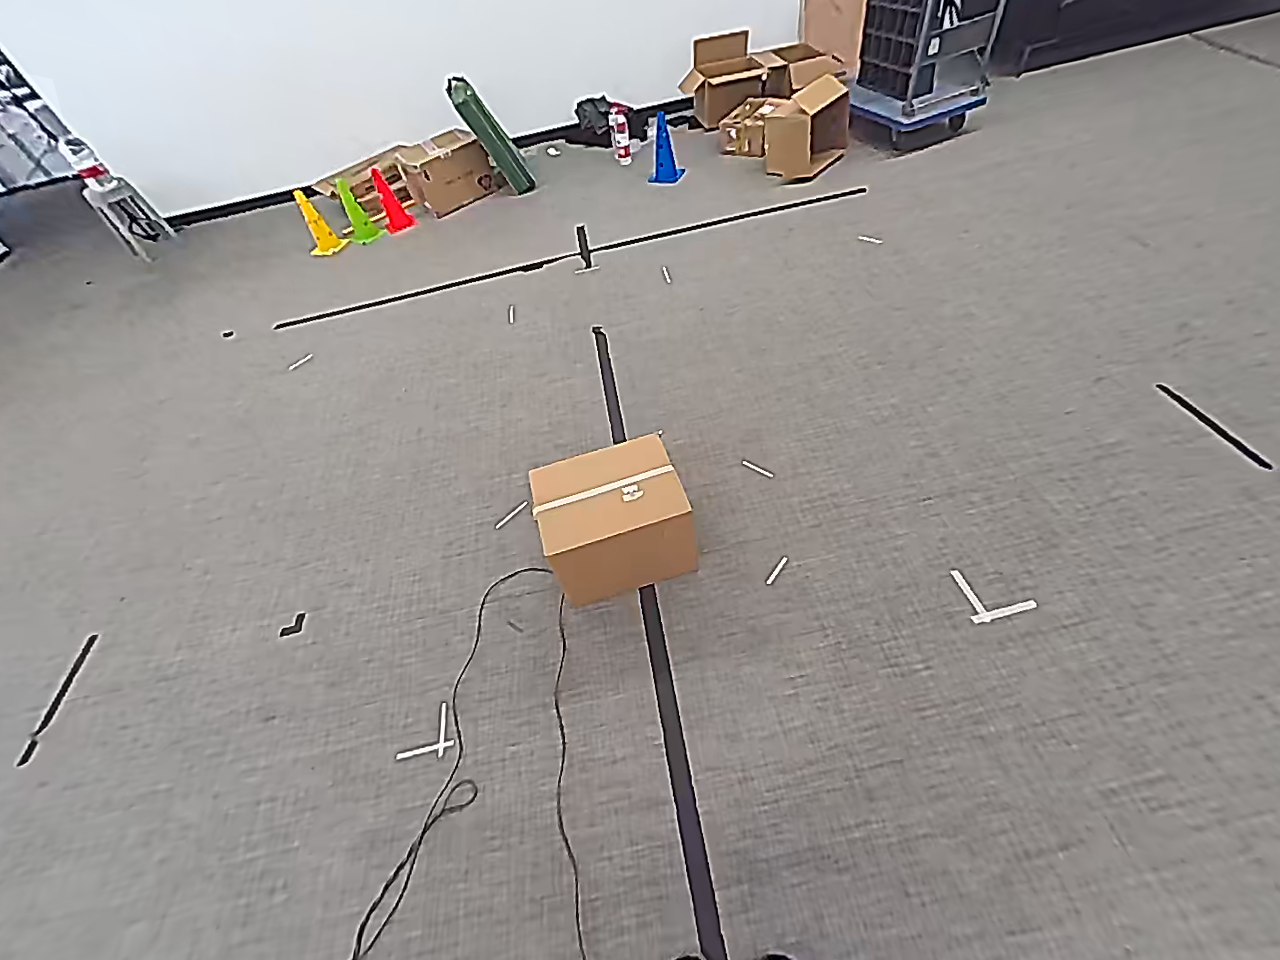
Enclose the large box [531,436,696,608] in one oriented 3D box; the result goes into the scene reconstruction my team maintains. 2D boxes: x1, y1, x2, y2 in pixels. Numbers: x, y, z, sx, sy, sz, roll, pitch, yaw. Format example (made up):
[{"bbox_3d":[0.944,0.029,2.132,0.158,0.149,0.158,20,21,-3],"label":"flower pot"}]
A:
[{"bbox_3d":[-0.074,0.129,1.612,0.408,0.320,0.320,-16,51,-5],"label":"large box"}]
